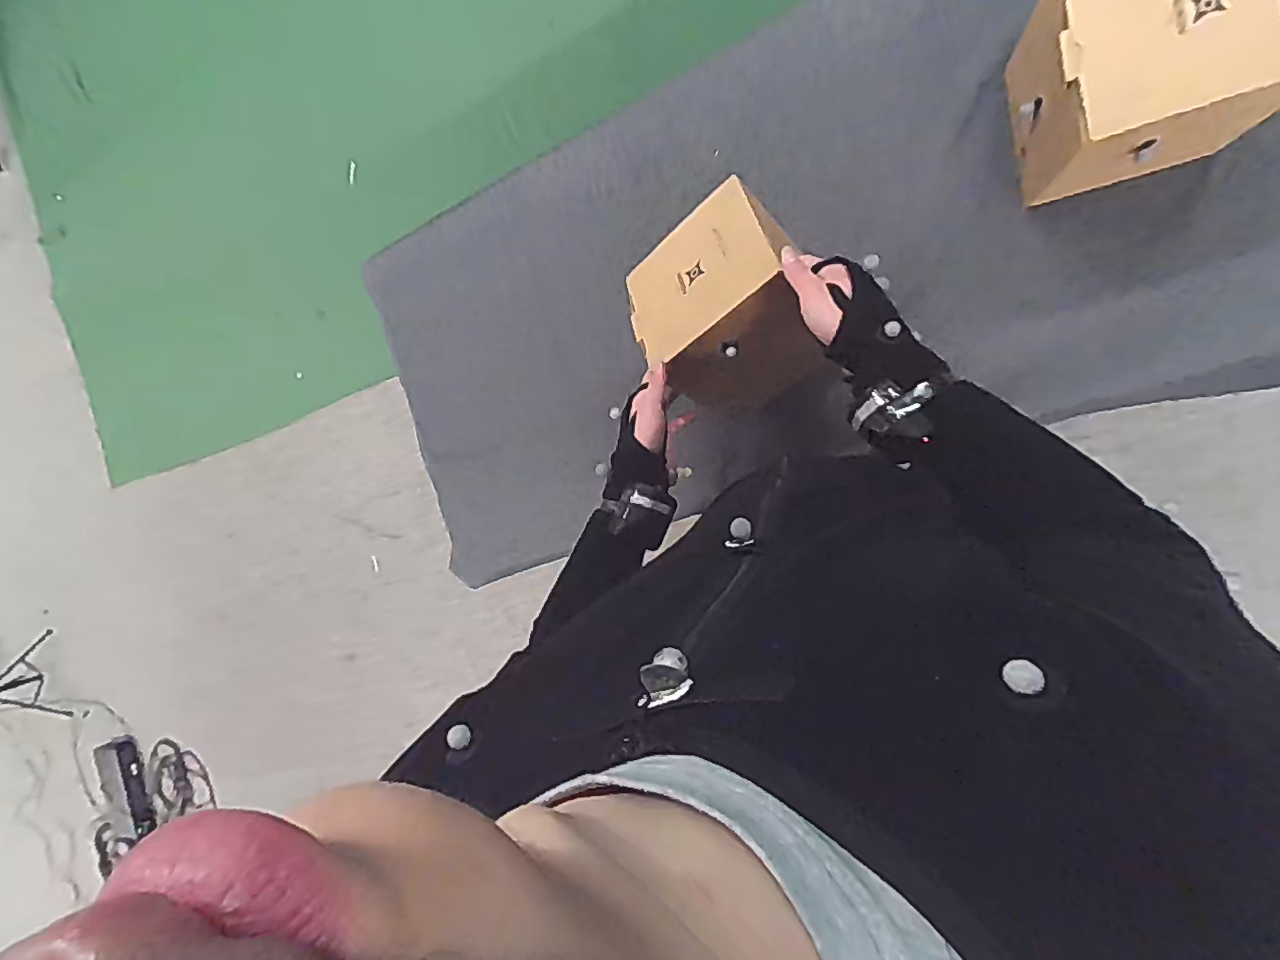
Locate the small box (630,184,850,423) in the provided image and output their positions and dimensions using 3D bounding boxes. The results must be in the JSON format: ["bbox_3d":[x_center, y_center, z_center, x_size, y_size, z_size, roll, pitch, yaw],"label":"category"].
[{"bbox_3d":[0.117,-0.197,0.650,0.179,0.176,0.168,-34,52,29],"label":"small box"}]

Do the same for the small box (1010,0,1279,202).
[{"bbox_3d":[0.492,-0.406,0.534,0.179,0.176,0.168,-10,94,21],"label":"small box"}]
